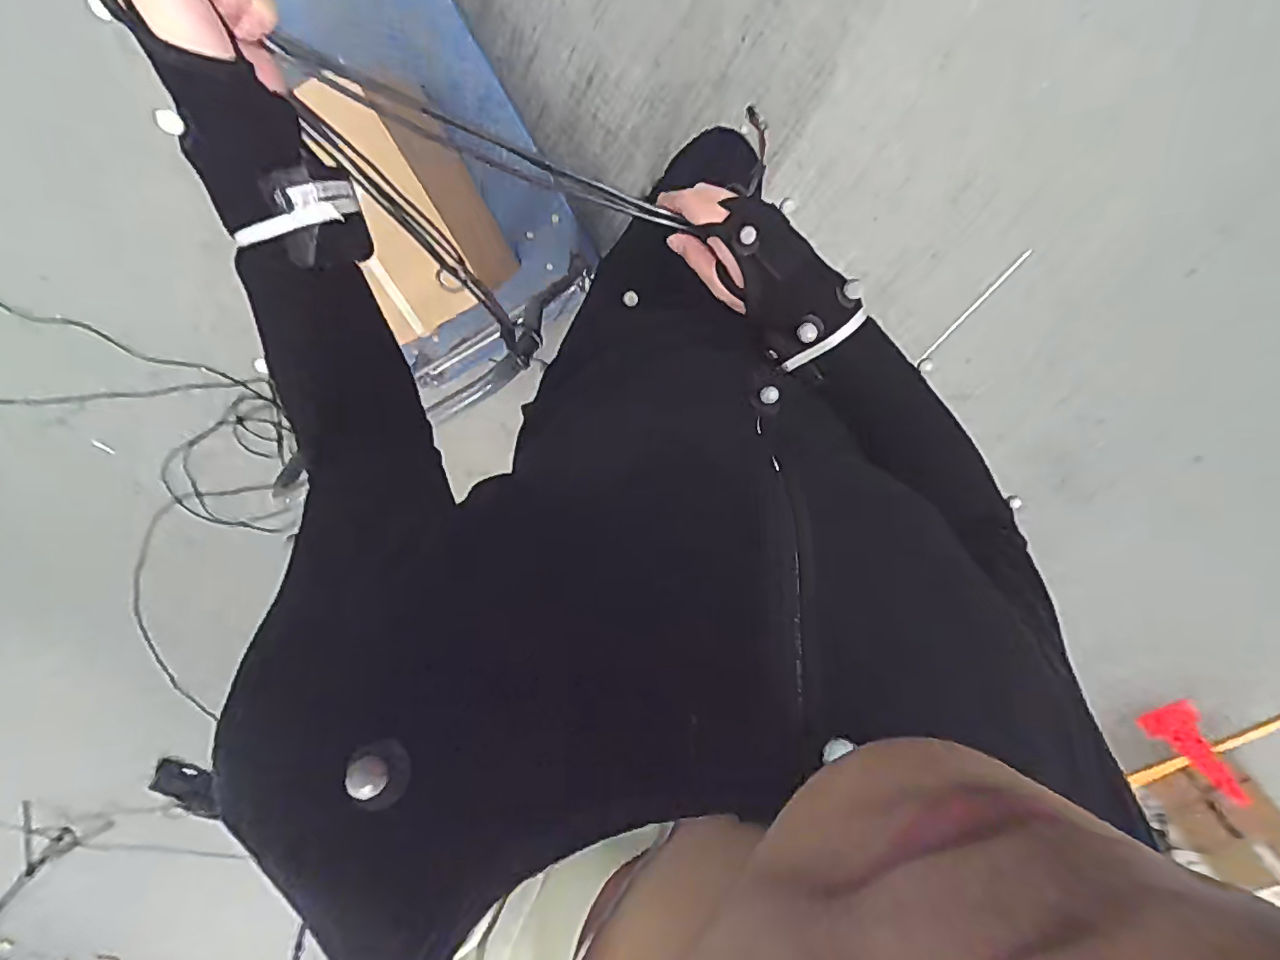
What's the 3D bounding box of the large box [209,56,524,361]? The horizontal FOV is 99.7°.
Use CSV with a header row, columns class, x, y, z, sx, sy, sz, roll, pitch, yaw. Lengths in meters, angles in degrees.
class,x,y,z,sx,sy,sz,roll,pitch,yaw
large box,-0.493,-0.518,1.080,0.320,0.320,0.408,-23,117,14
